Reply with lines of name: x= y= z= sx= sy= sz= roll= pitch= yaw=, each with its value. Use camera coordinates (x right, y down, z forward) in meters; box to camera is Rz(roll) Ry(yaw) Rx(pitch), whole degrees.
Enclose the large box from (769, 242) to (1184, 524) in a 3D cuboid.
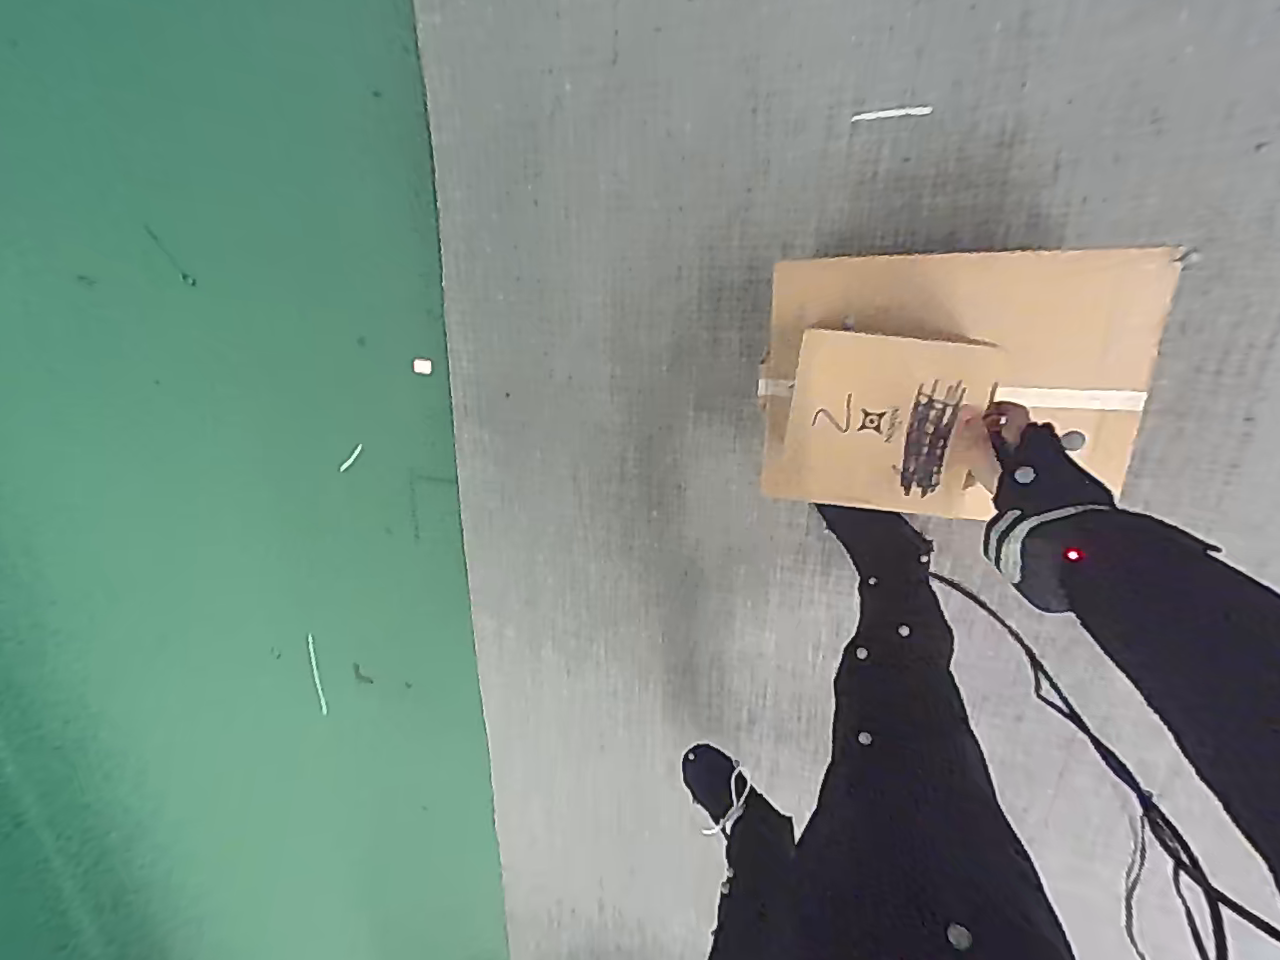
large box: x=0.411 y=-0.150 z=0.783 sx=0.408 sy=0.320 sz=0.320 roll=6 pitch=109 yaw=19
